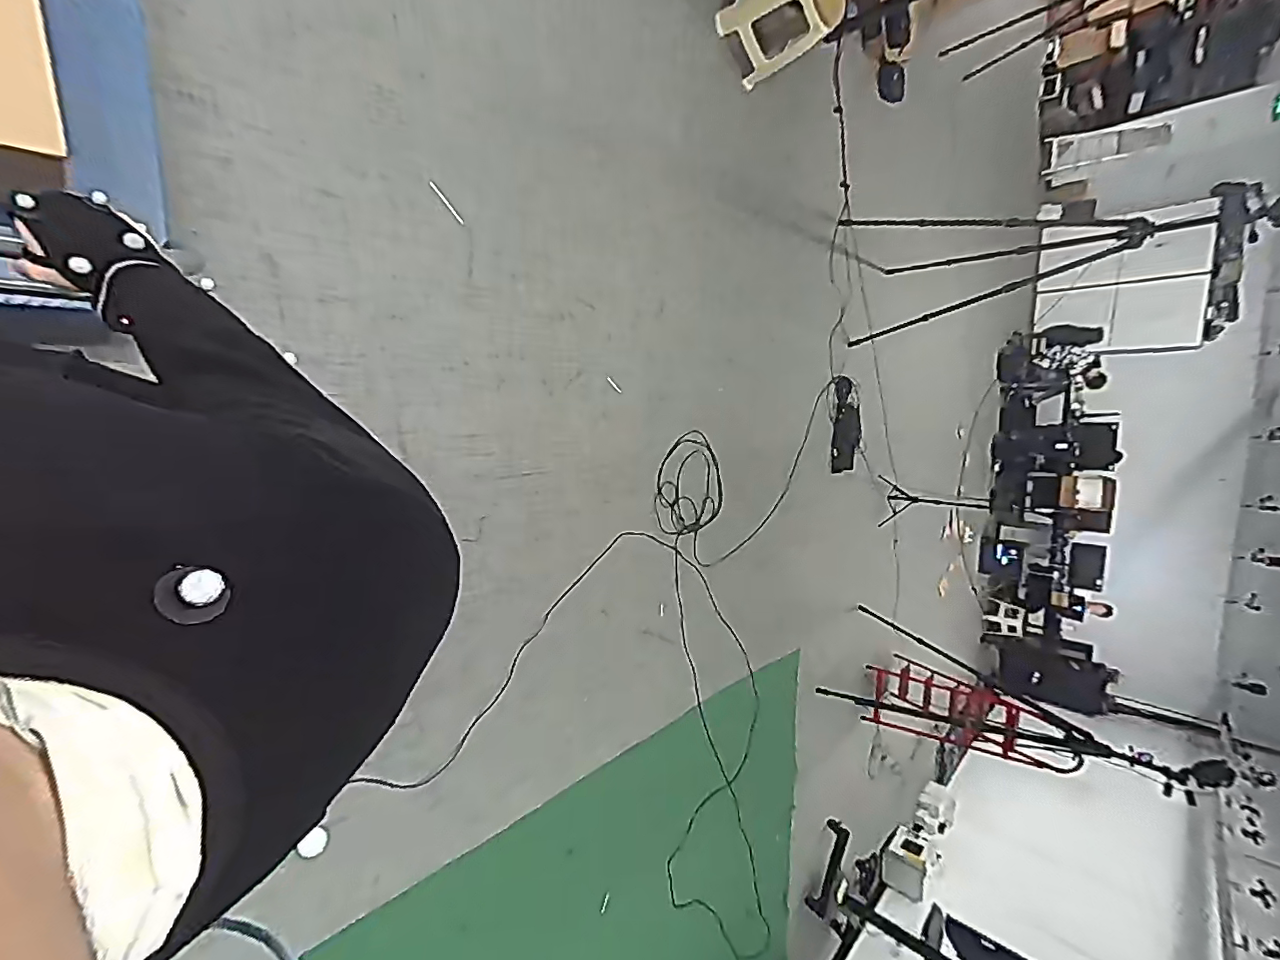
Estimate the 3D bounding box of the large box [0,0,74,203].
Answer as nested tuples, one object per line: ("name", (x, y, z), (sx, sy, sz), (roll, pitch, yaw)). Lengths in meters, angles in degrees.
("large box", (-1.073, -0.667, 0.766), (0.320, 0.320, 0.408), (-12, 103, -44))
